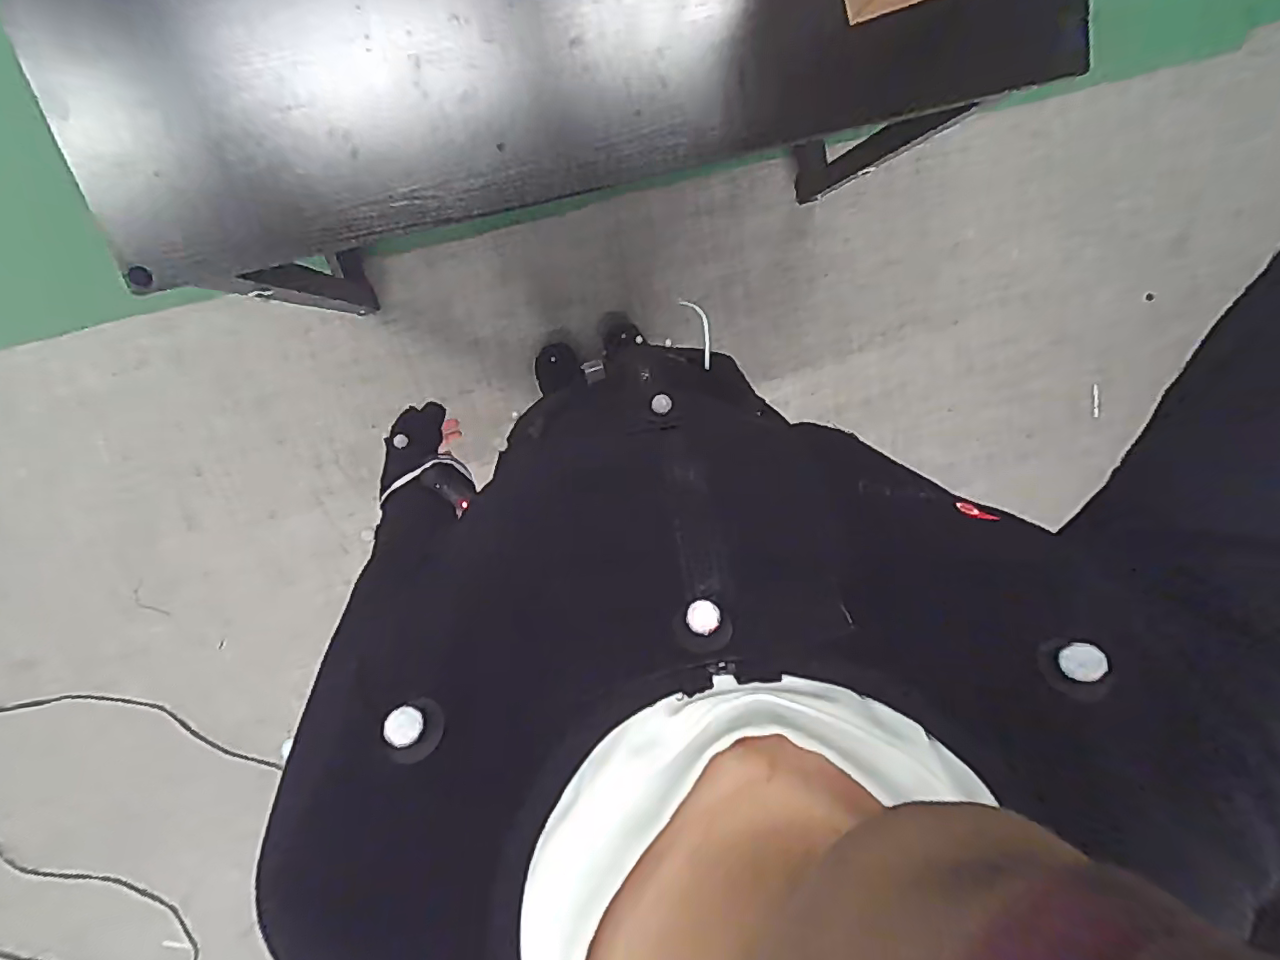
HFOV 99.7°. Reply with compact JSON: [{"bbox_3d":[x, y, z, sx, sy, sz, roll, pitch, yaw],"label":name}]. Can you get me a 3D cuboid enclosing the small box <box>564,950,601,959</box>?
[{"bbox_3d":[-0.196,1.733,1.806,0.179,0.176,0.168,-15,105,-6],"label":"small box"}]
